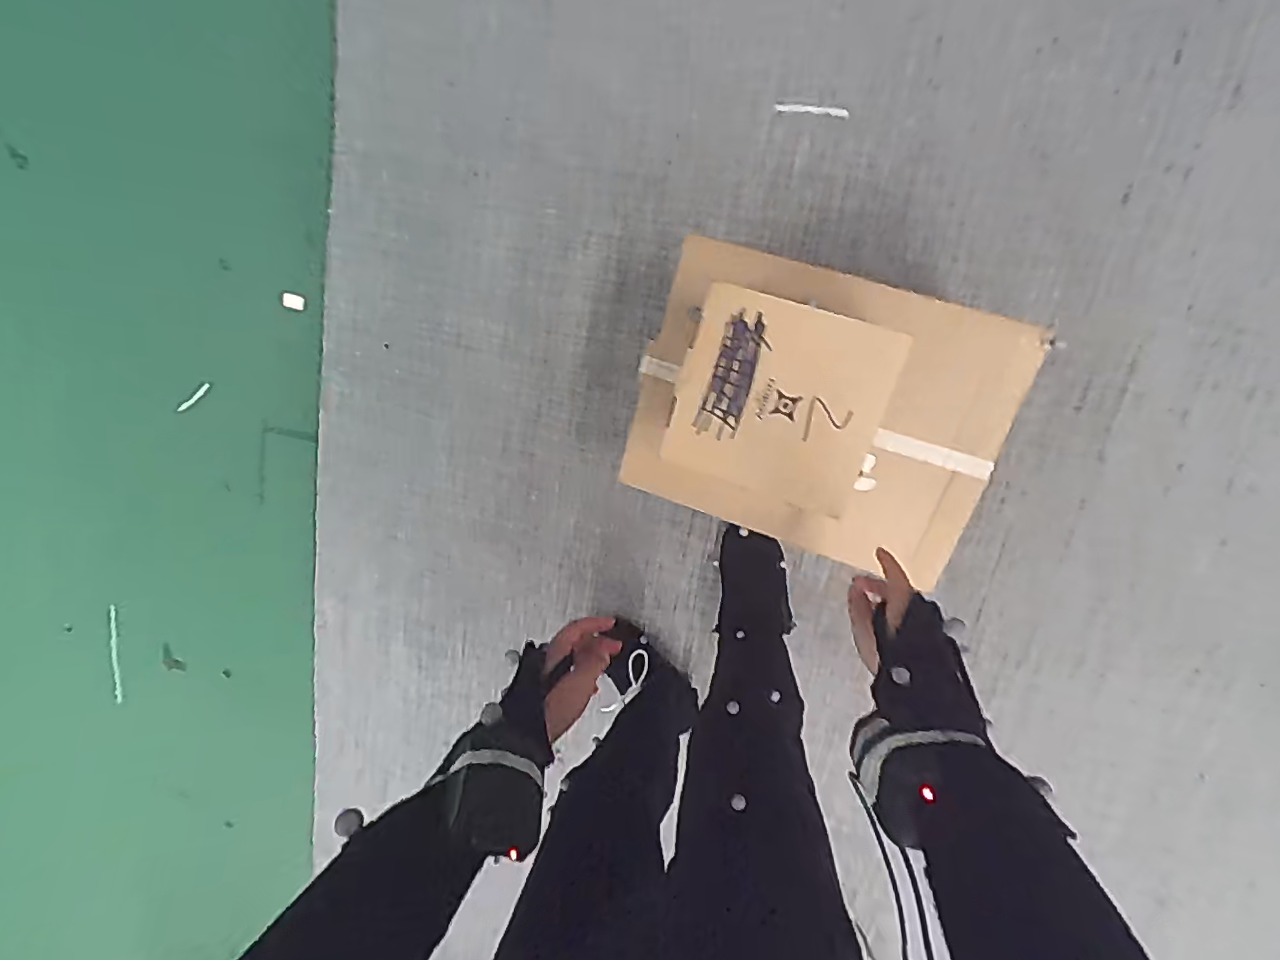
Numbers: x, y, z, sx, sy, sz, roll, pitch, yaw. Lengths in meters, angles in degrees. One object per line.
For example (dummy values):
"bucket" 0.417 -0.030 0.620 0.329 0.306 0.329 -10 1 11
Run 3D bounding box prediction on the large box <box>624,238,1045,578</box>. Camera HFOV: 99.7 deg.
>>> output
"large box" 0.233 -0.111 0.775 0.408 0.320 0.320 19 106 9
